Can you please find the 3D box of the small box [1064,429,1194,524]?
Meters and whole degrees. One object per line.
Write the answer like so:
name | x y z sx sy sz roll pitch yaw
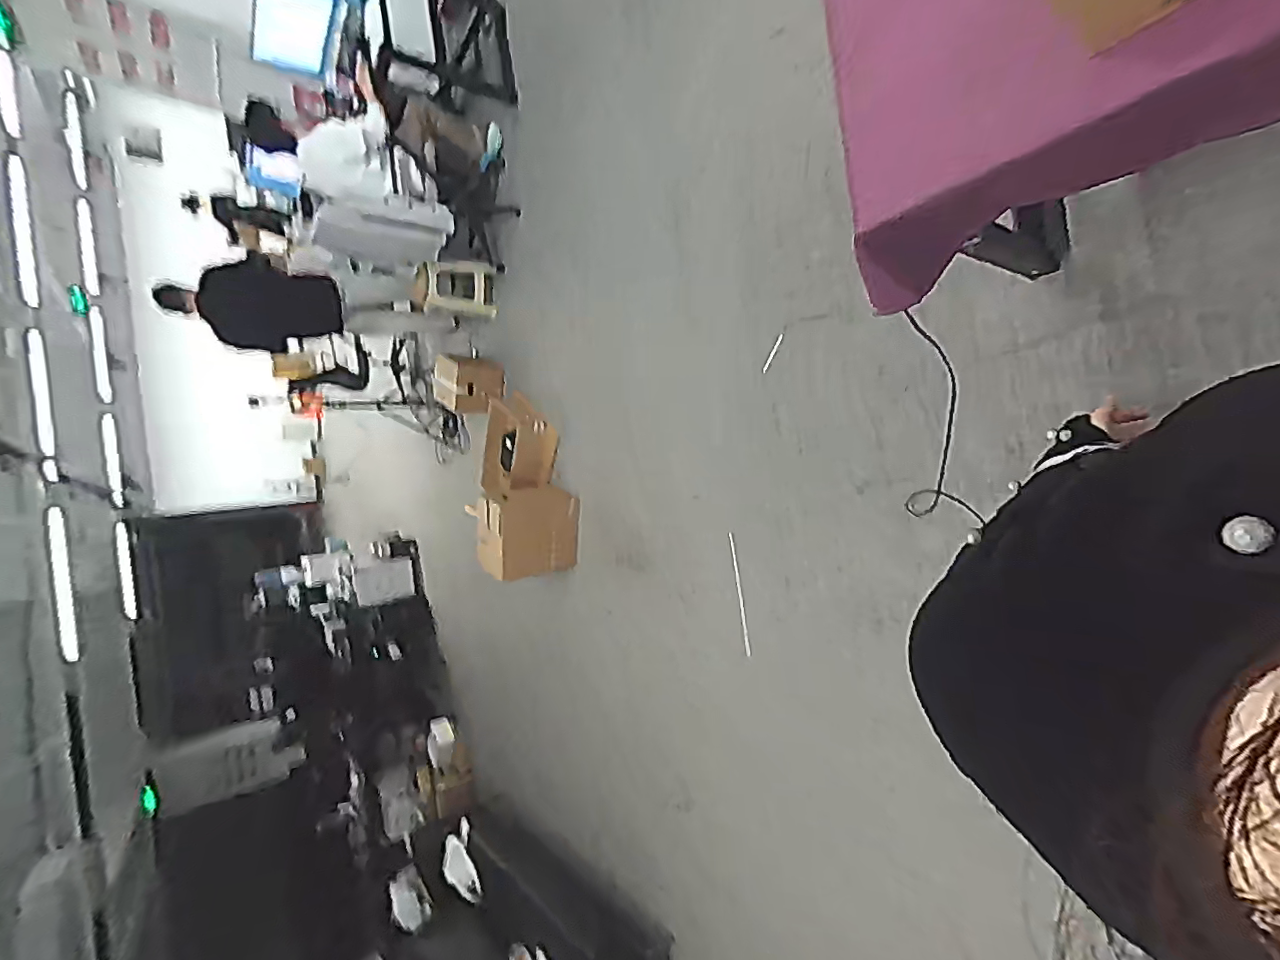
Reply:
small box | 1.010 -0.006 1.116 0.168 0.176 0.179 -7 89 52
